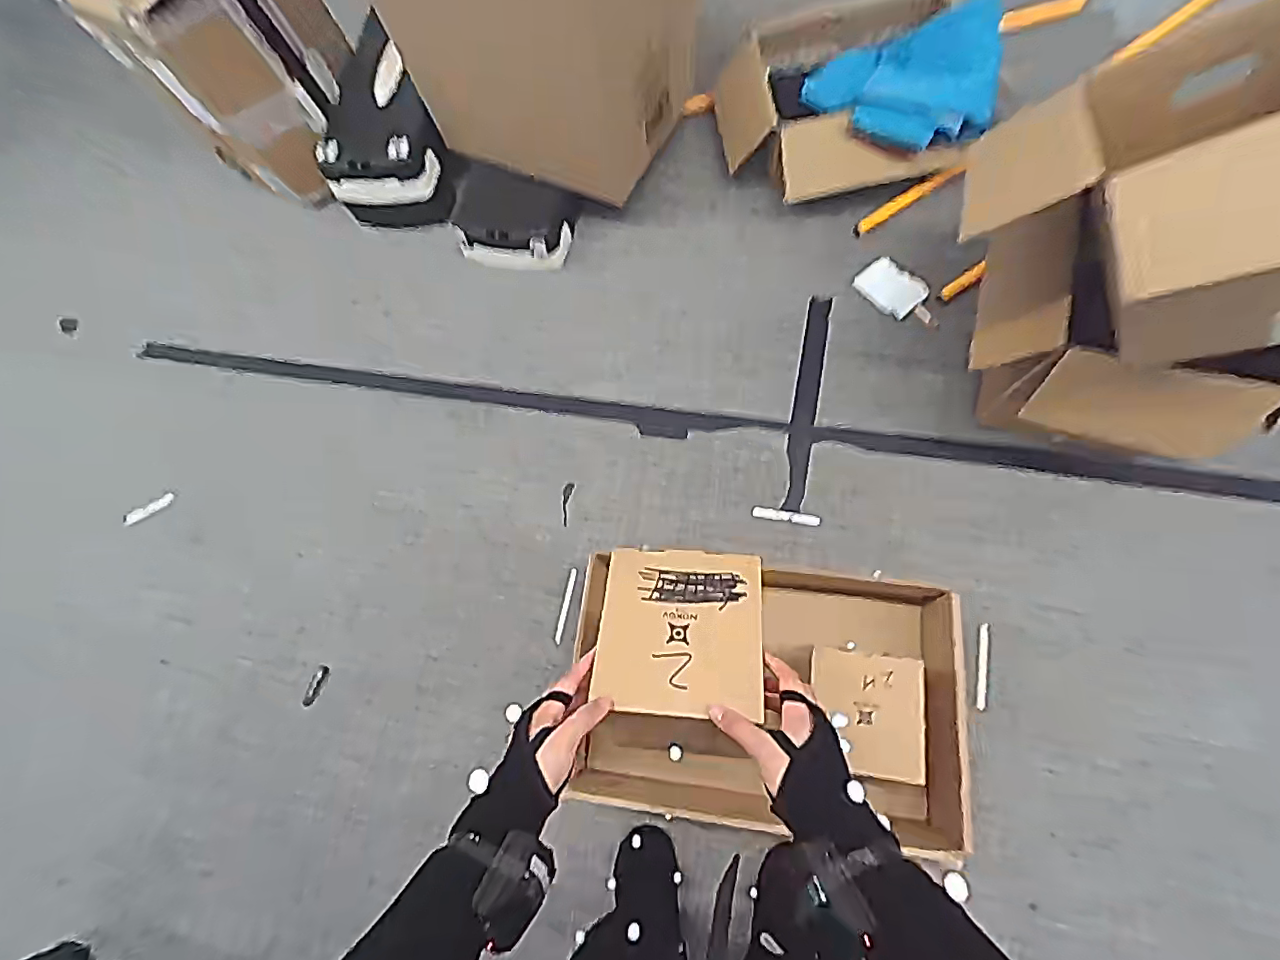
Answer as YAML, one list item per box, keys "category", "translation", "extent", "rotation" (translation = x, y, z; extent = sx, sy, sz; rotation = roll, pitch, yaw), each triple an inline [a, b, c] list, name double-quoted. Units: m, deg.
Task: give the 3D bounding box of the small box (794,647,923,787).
- category: "small box"
  translation: [0.350, 0.377, 0.890]
  extent: [0.168, 0.176, 0.179]
  rotation: [6, 72, 9]
